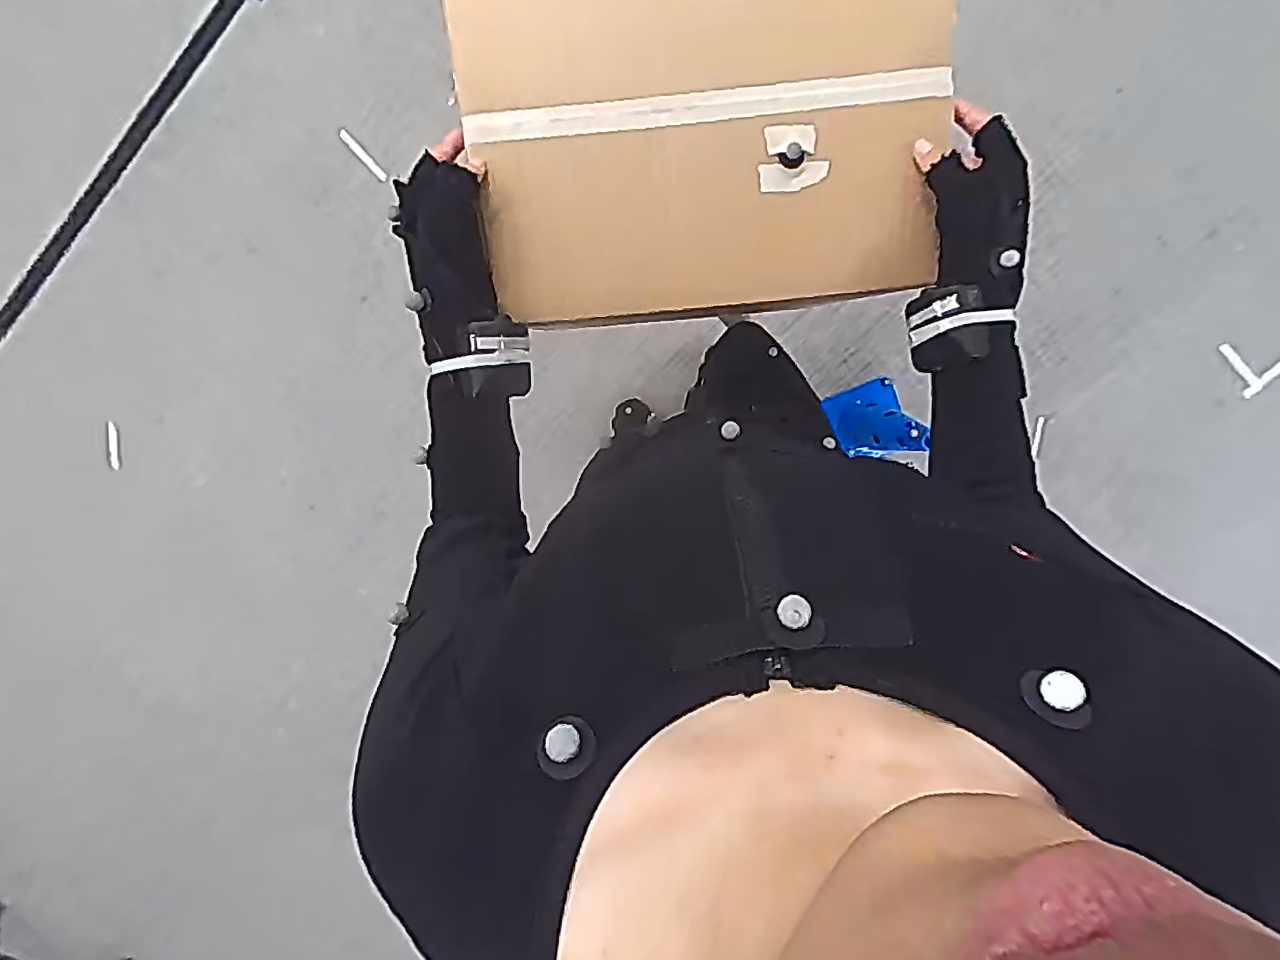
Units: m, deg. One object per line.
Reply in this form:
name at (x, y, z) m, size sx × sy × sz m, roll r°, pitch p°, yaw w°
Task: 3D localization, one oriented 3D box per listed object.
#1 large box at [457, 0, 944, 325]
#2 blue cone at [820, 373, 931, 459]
large box at (0.052, -0.356, 0.603) m, size 0.408 × 0.320 × 0.320 m, roll -5°, pitch 104°, yaw 0°
blue cone at (0.583, -0.133, 1.271) m, size 0.193 × 0.380 × 0.192 m, roll -21°, pitch 99°, yaw 6°
